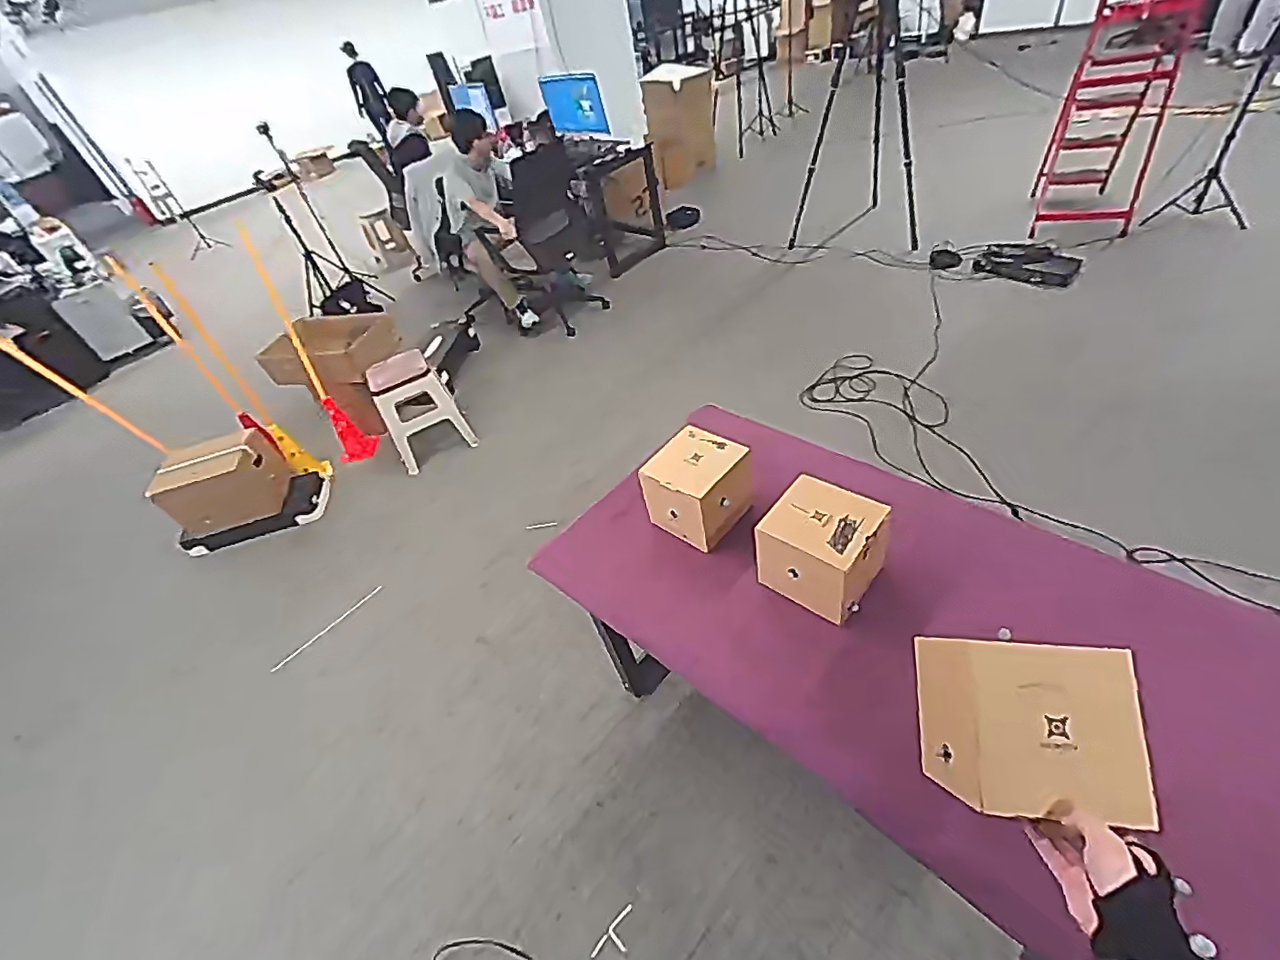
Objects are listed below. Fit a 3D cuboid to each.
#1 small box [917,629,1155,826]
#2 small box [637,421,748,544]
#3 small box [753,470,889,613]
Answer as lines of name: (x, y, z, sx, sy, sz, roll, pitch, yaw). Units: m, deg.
small box: (0.446, 0.274, 0.642, 0.168, 0.176, 0.179, 2, 75, 8)
small box: (0.123, 0.008, 1.170, 0.168, 0.176, 0.179, 27, 58, 35)
small box: (0.331, 0.117, 0.998, 0.179, 0.176, 0.168, 26, 57, 37)
